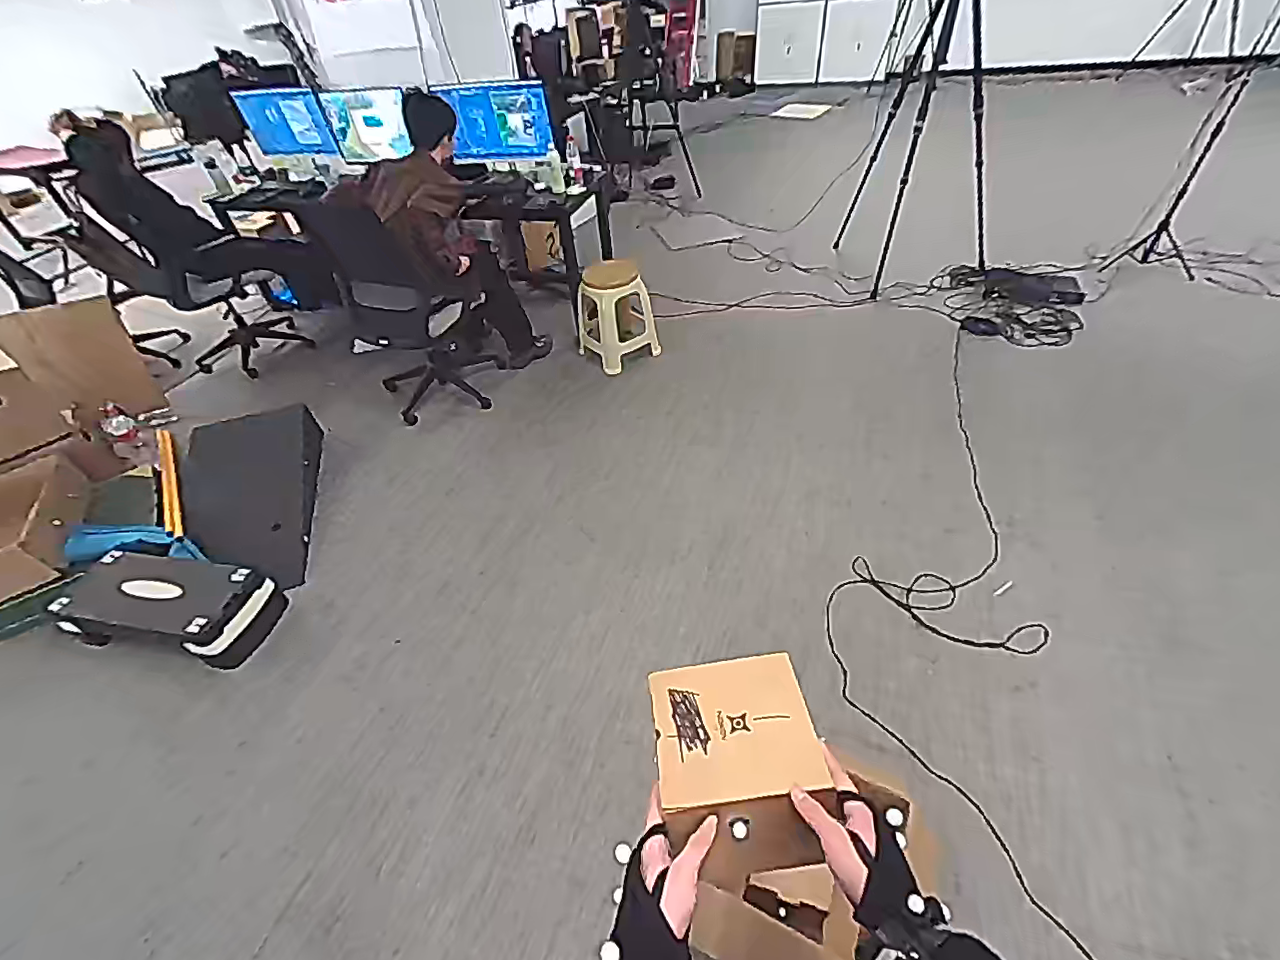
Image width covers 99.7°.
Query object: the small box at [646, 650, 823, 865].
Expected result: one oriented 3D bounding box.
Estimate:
[{"bbox_3d":[0.108,0.328,0.638,0.179,0.176,0.168,-8,35,5],"label":"small box"}]
